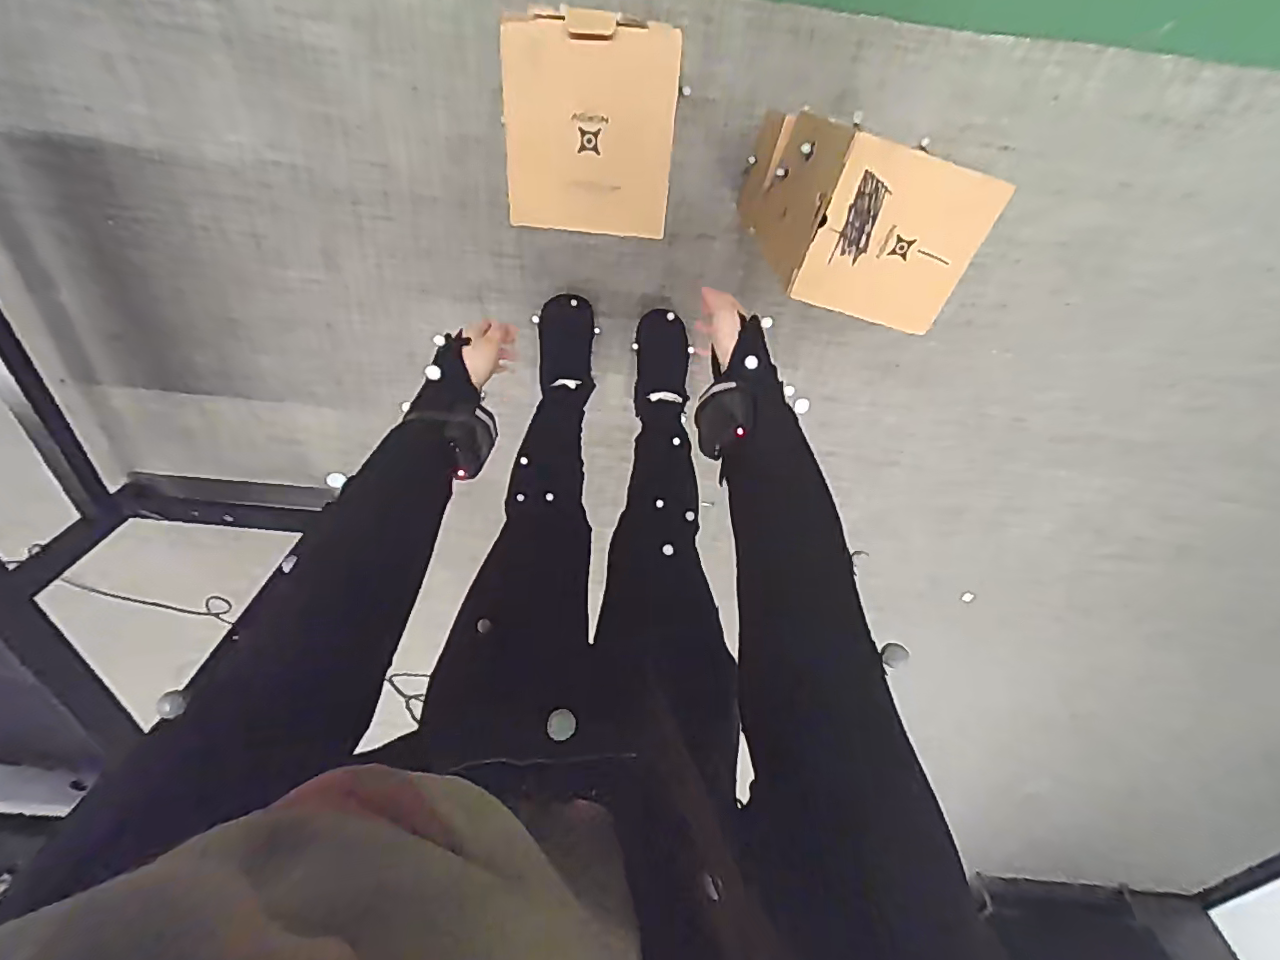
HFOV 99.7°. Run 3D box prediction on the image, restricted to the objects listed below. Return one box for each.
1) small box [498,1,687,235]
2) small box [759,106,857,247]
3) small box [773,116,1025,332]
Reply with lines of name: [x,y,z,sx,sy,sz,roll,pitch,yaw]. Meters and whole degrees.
small box: [-0.044,-0.377,0.574,0.168,0.176,0.179,5,127,0]
small box: [0.282,-0.395,0.750,0.179,0.176,0.168,15,127,-10]
small box: [0.270,-0.297,0.619,0.179,0.176,0.168,13,127,-8]
